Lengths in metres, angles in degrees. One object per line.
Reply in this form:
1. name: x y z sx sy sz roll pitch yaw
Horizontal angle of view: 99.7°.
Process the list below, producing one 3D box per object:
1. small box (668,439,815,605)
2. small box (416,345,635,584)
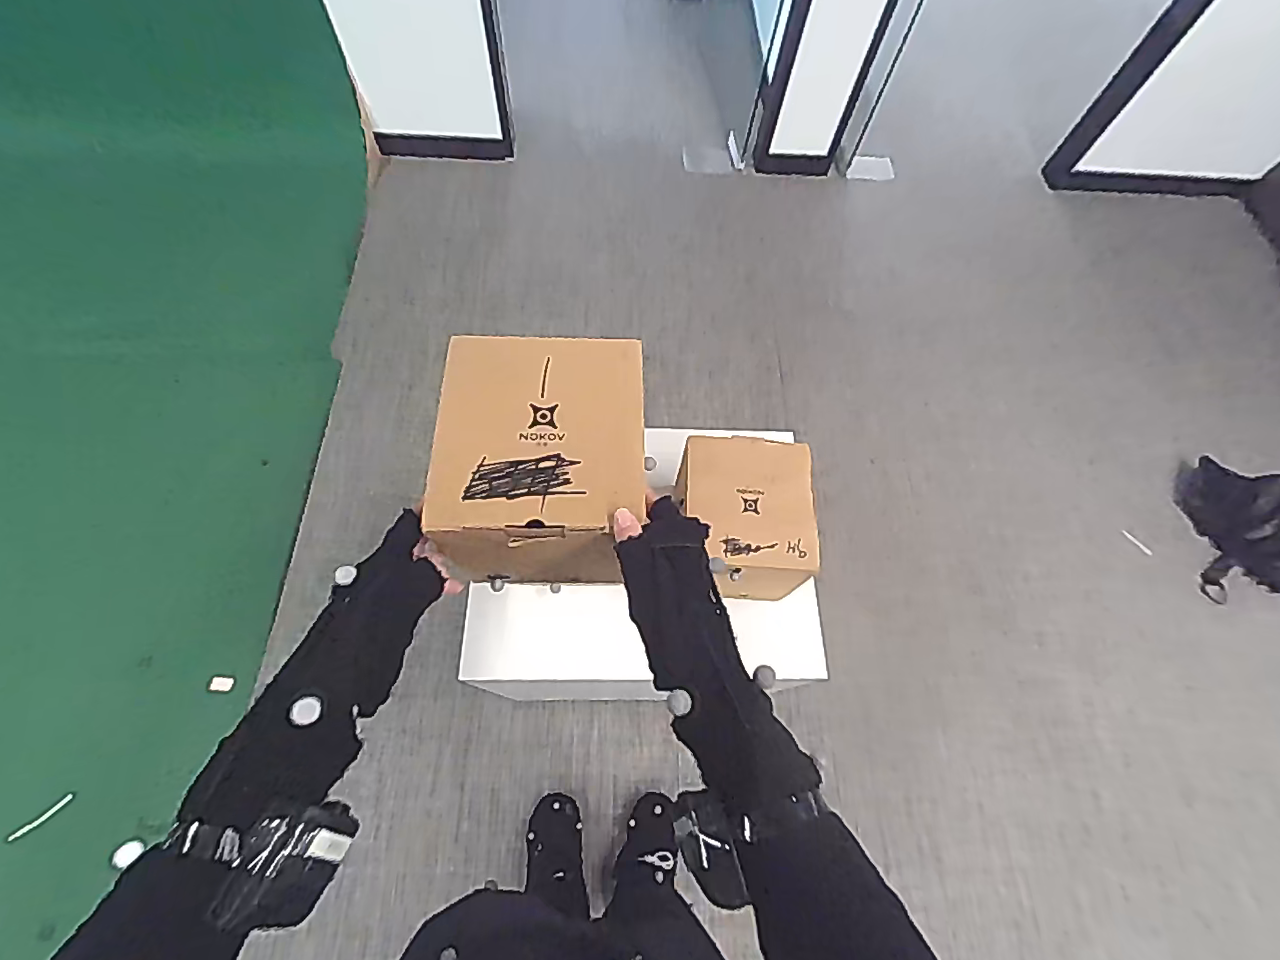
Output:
1. small box: 0.132 0.064 0.759 0.168 0.176 0.179 5 64 -1
2. small box: -0.088 -0.004 0.506 0.168 0.176 0.179 0 65 -3
